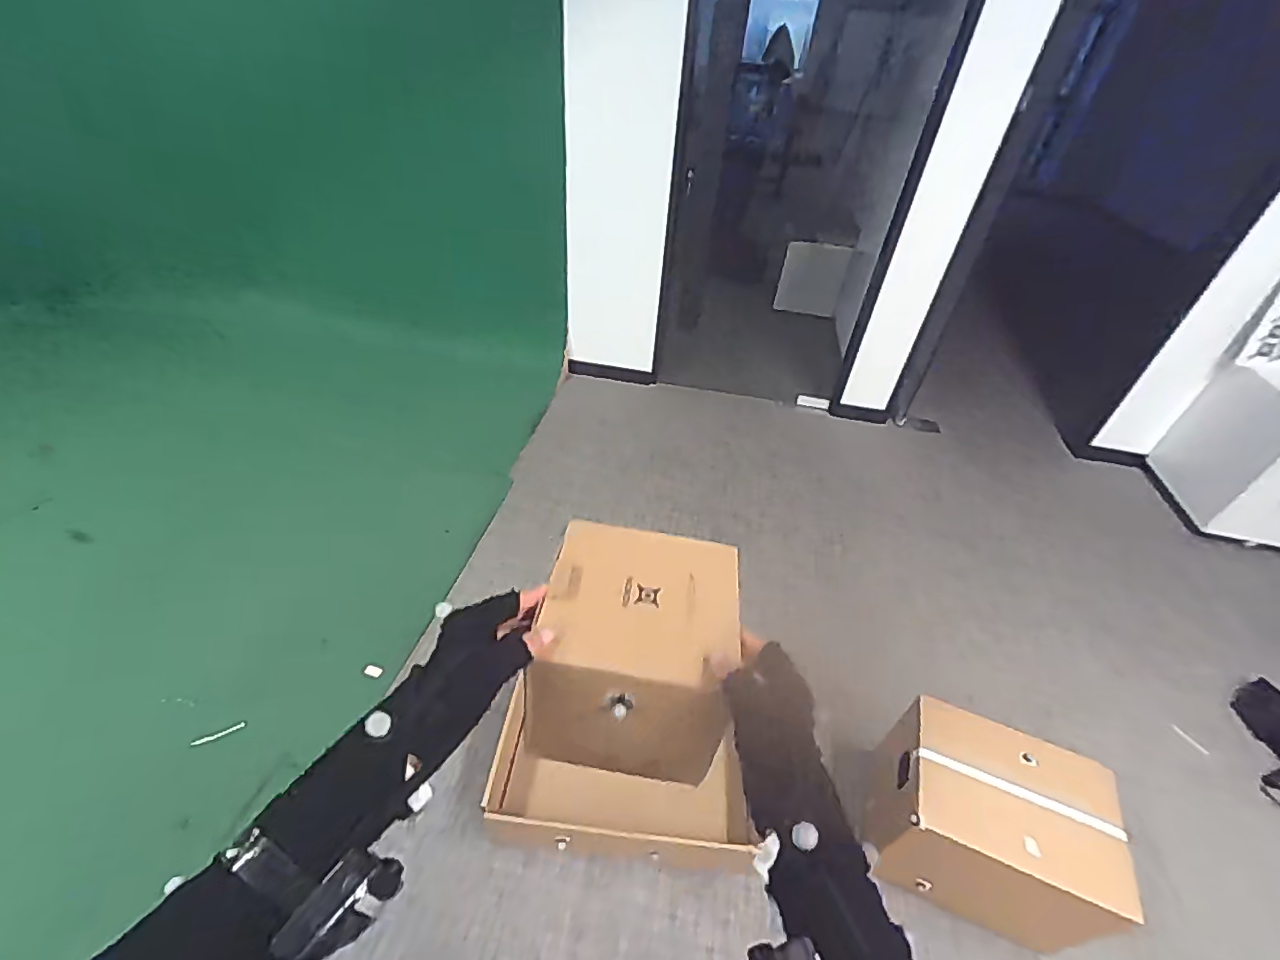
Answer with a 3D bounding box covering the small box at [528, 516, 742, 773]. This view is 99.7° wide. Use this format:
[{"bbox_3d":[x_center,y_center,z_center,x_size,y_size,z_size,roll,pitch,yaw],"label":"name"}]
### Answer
[{"bbox_3d":[-0.006,0.162,0.536,0.179,0.176,0.168,11,38,0],"label":"small box"}]
